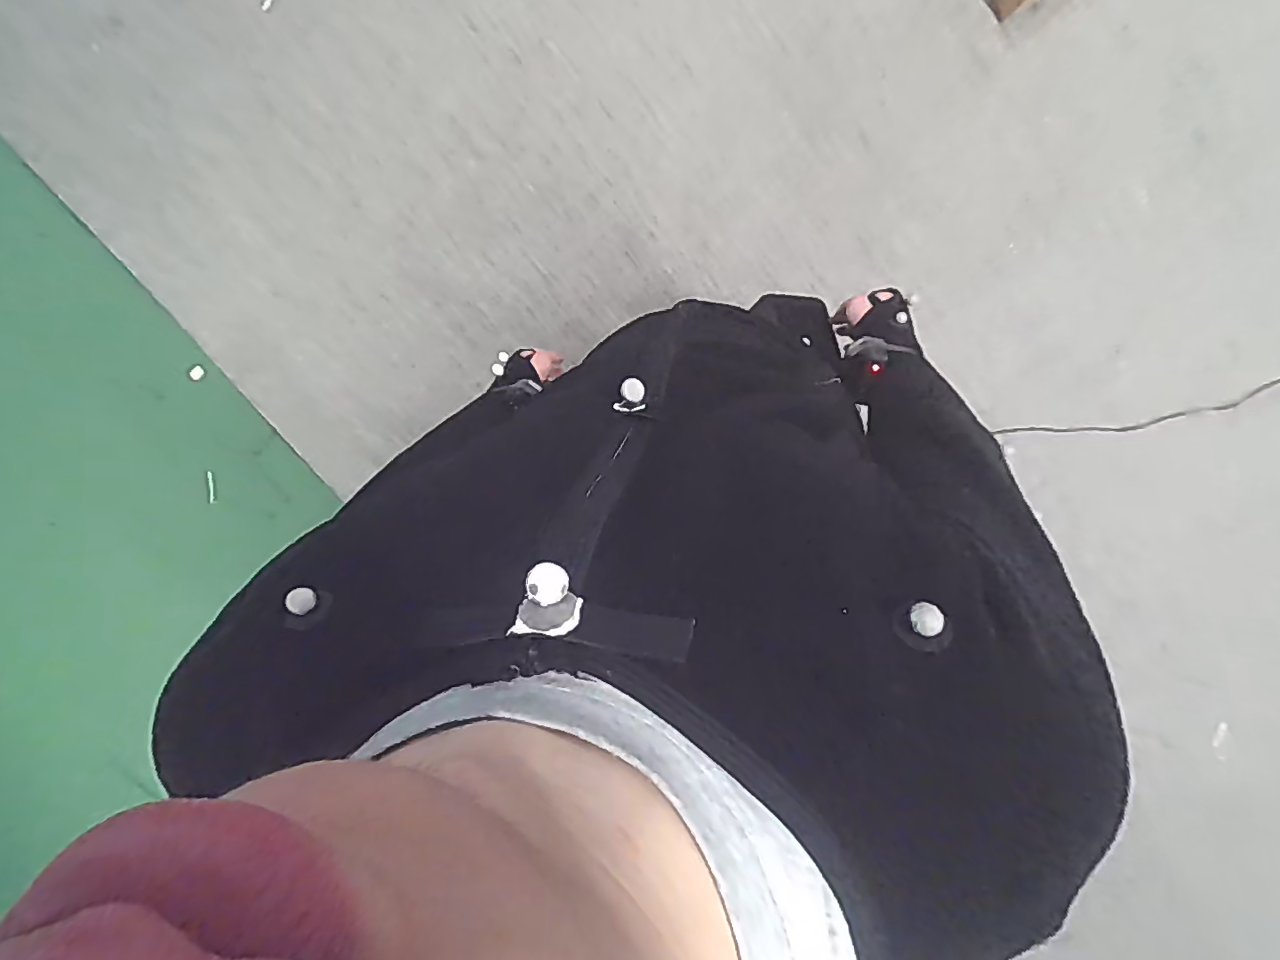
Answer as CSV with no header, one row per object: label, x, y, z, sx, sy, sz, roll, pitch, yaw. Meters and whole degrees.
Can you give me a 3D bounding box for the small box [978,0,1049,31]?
small box,0.796,-1.071,1.088,0.168,0.176,0.179,-26,104,15
